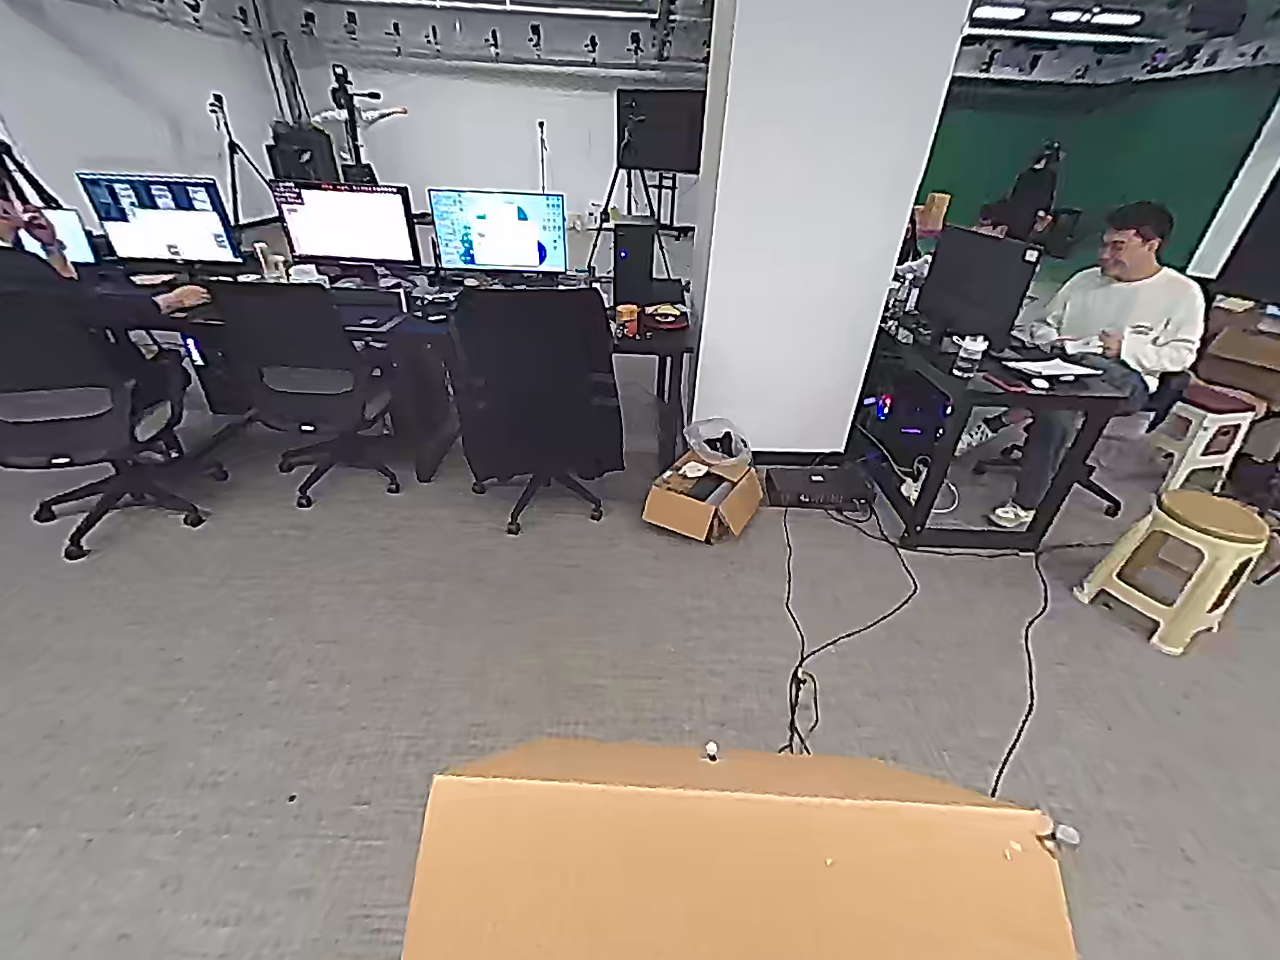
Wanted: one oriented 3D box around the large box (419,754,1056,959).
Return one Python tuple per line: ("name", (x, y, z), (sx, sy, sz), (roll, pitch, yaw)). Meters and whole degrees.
("large box", (0.060, 0.416, 0.452), (0.408, 0.320, 0.320), (1, 70, 3))
